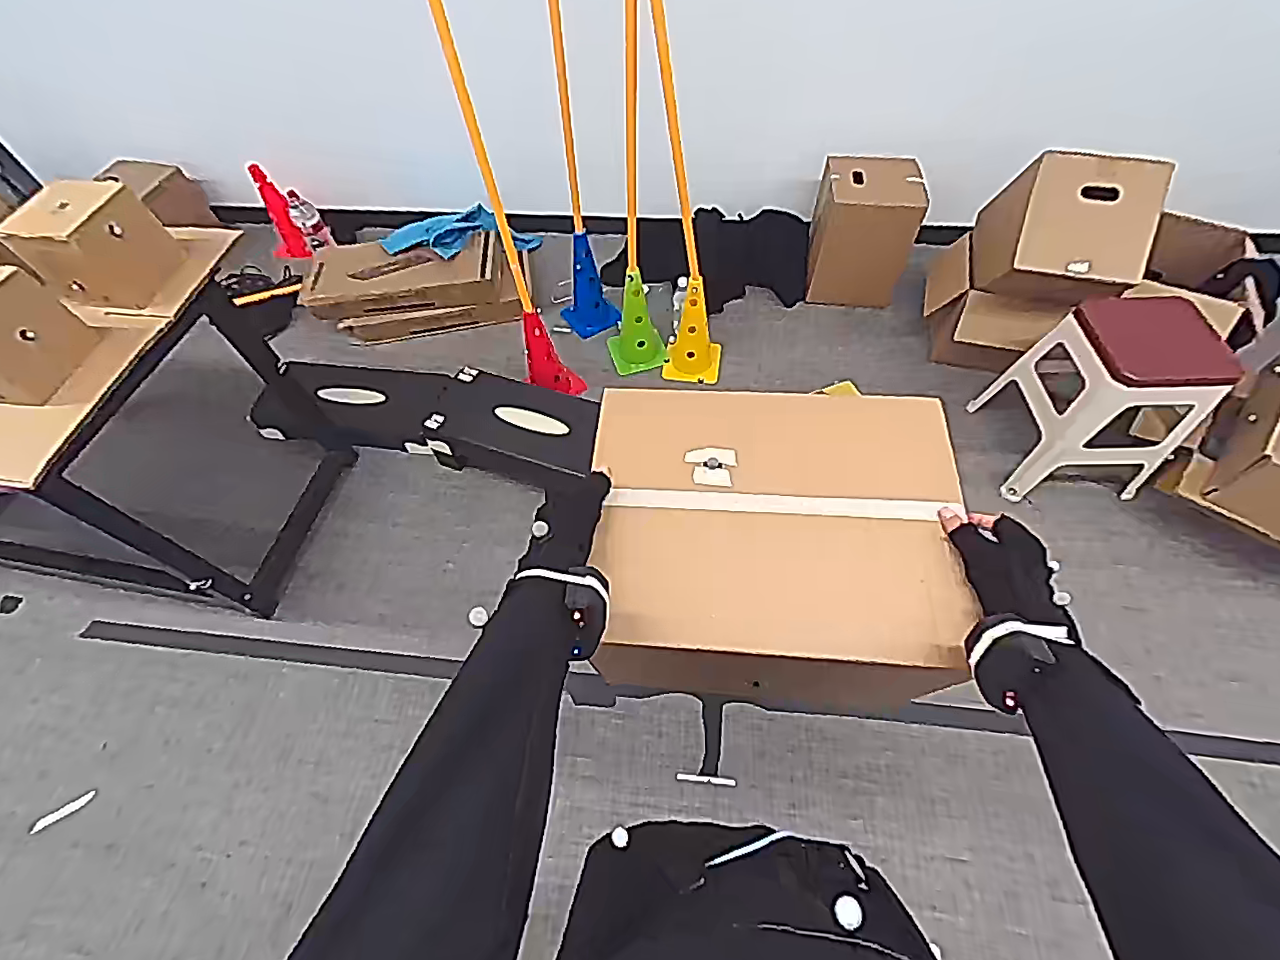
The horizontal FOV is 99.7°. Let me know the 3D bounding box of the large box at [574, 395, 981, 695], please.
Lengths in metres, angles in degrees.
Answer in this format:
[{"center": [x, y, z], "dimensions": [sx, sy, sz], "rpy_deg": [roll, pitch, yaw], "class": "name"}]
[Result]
[{"center": [0.156, 0.101, 0.732], "dimensions": [0.408, 0.320, 0.320], "rpy_deg": [3, 61, 7], "class": "large box"}]
